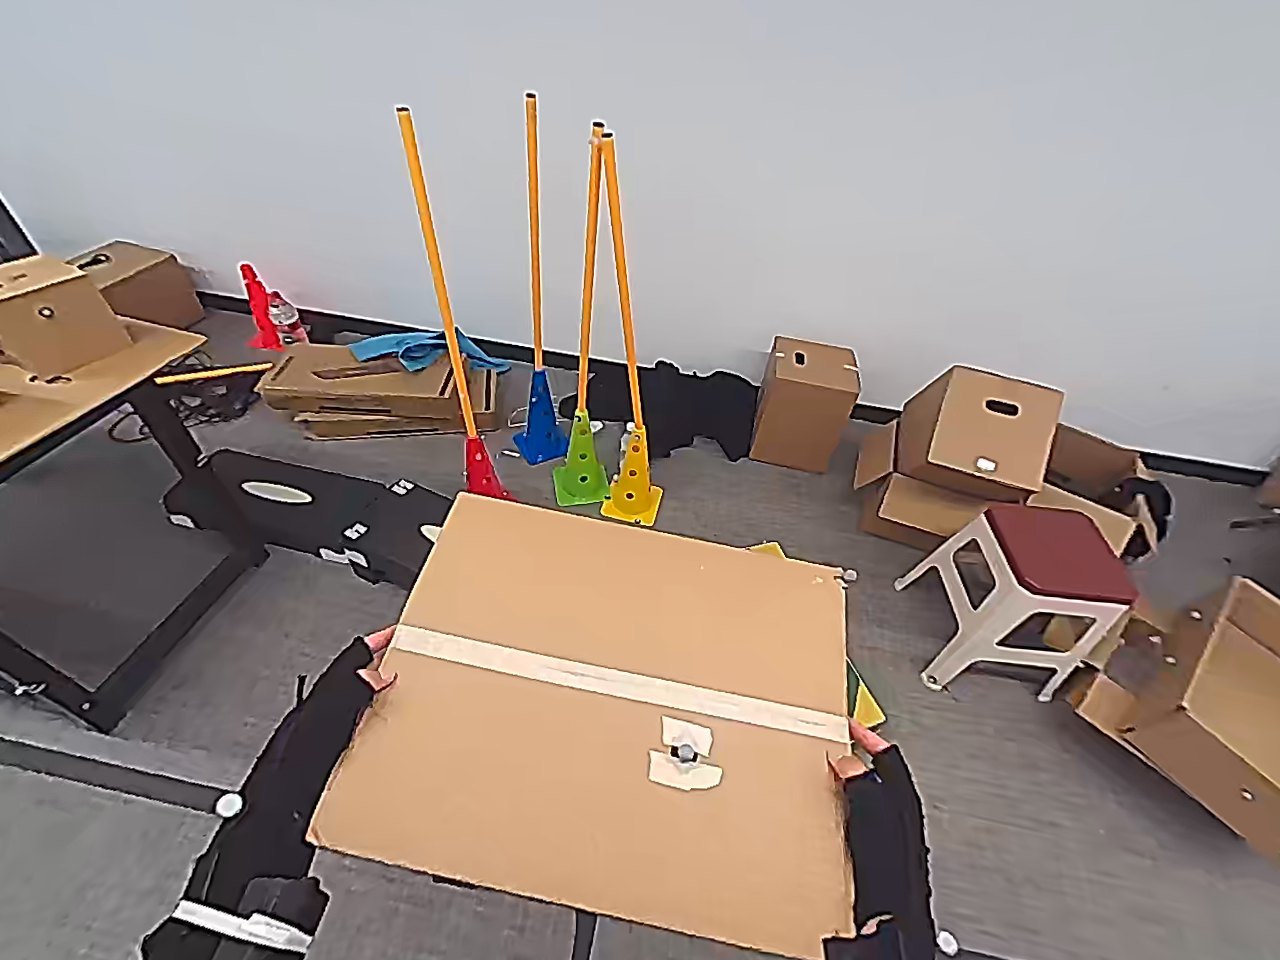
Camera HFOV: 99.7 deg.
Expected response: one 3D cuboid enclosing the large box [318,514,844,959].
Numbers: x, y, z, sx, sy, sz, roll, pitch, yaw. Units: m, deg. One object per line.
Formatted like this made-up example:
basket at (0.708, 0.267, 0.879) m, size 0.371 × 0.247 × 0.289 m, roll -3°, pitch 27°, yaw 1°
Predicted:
large box at (-0.036, 0.277, 0.600) m, size 0.408 × 0.320 × 0.320 m, roll 12°, pitch 56°, yaw 2°
